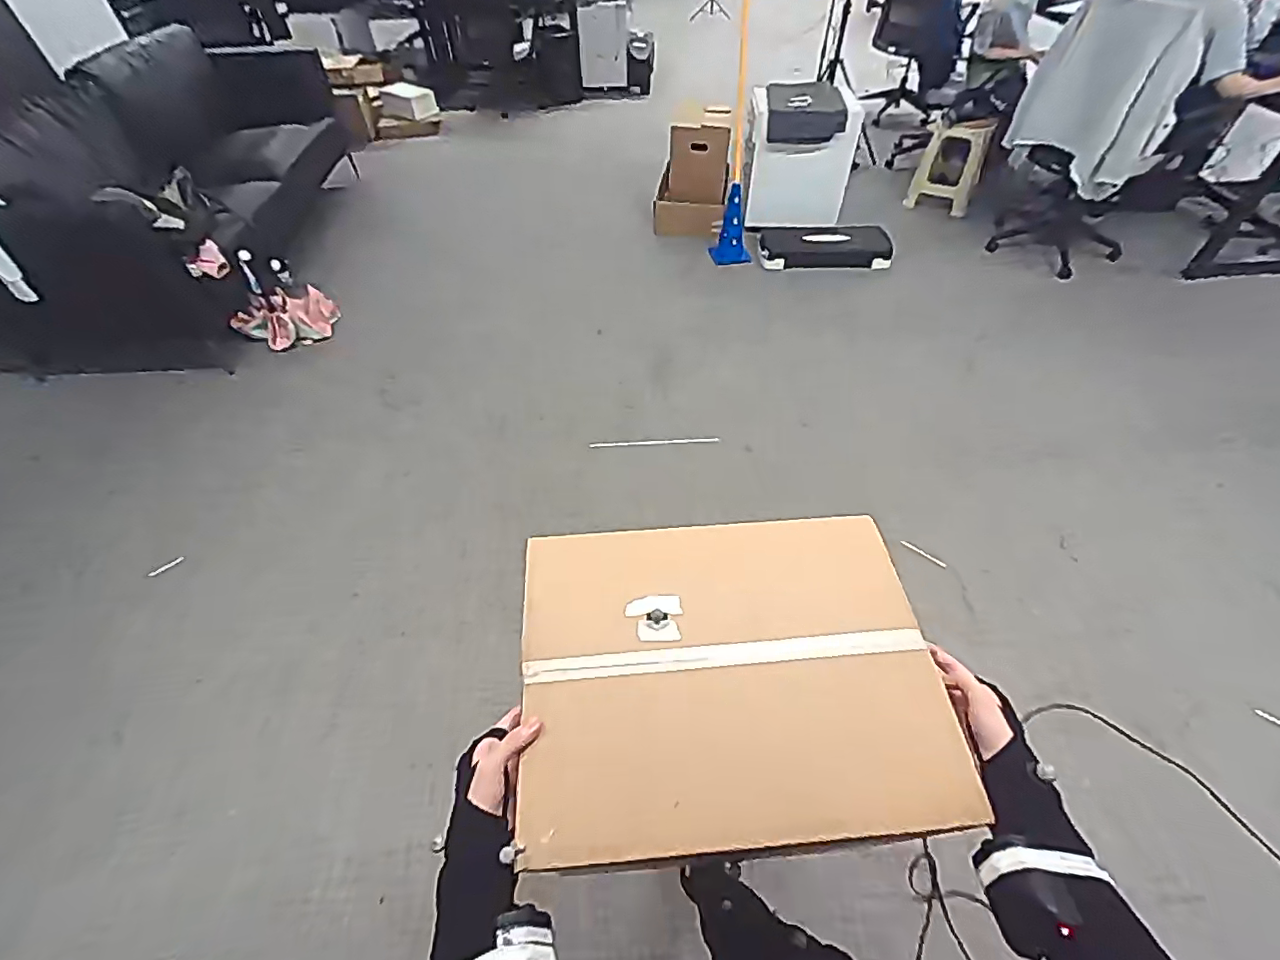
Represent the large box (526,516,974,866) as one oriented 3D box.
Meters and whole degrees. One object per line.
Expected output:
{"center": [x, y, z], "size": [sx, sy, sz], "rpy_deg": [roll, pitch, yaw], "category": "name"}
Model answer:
{"center": [0.090, 0.270, 0.674], "size": [0.408, 0.320, 0.320], "rpy_deg": [-5, 52, -2], "category": "large box"}
